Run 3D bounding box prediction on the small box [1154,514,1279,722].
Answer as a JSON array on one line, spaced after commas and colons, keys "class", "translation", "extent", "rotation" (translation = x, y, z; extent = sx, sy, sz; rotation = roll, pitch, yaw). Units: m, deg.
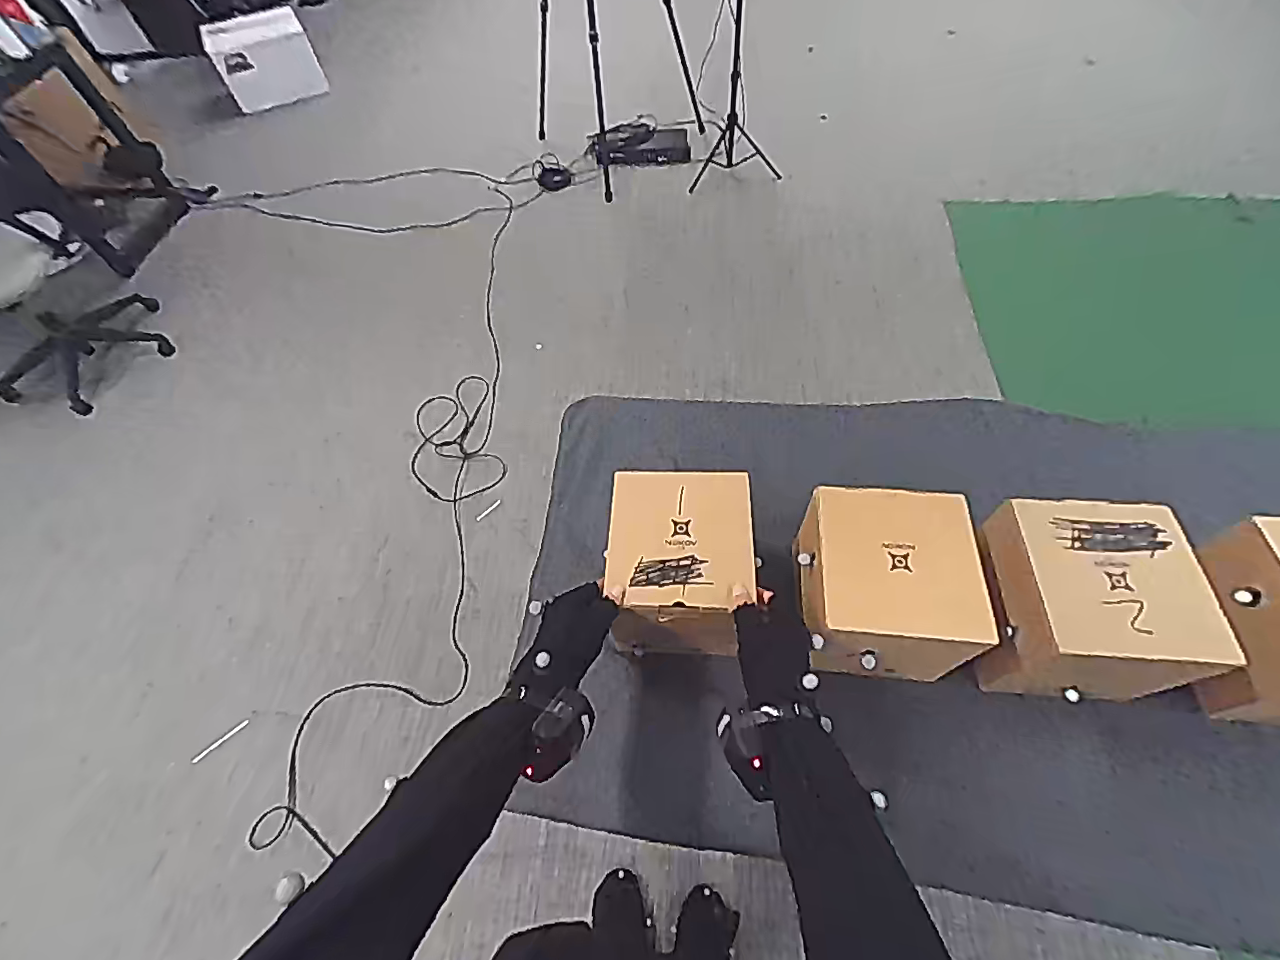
[{"class": "small box", "translation": [0.731, 0.157, 0.590], "extent": [0.168, 0.176, 0.179], "rotation": [2, 57, 7]}]
